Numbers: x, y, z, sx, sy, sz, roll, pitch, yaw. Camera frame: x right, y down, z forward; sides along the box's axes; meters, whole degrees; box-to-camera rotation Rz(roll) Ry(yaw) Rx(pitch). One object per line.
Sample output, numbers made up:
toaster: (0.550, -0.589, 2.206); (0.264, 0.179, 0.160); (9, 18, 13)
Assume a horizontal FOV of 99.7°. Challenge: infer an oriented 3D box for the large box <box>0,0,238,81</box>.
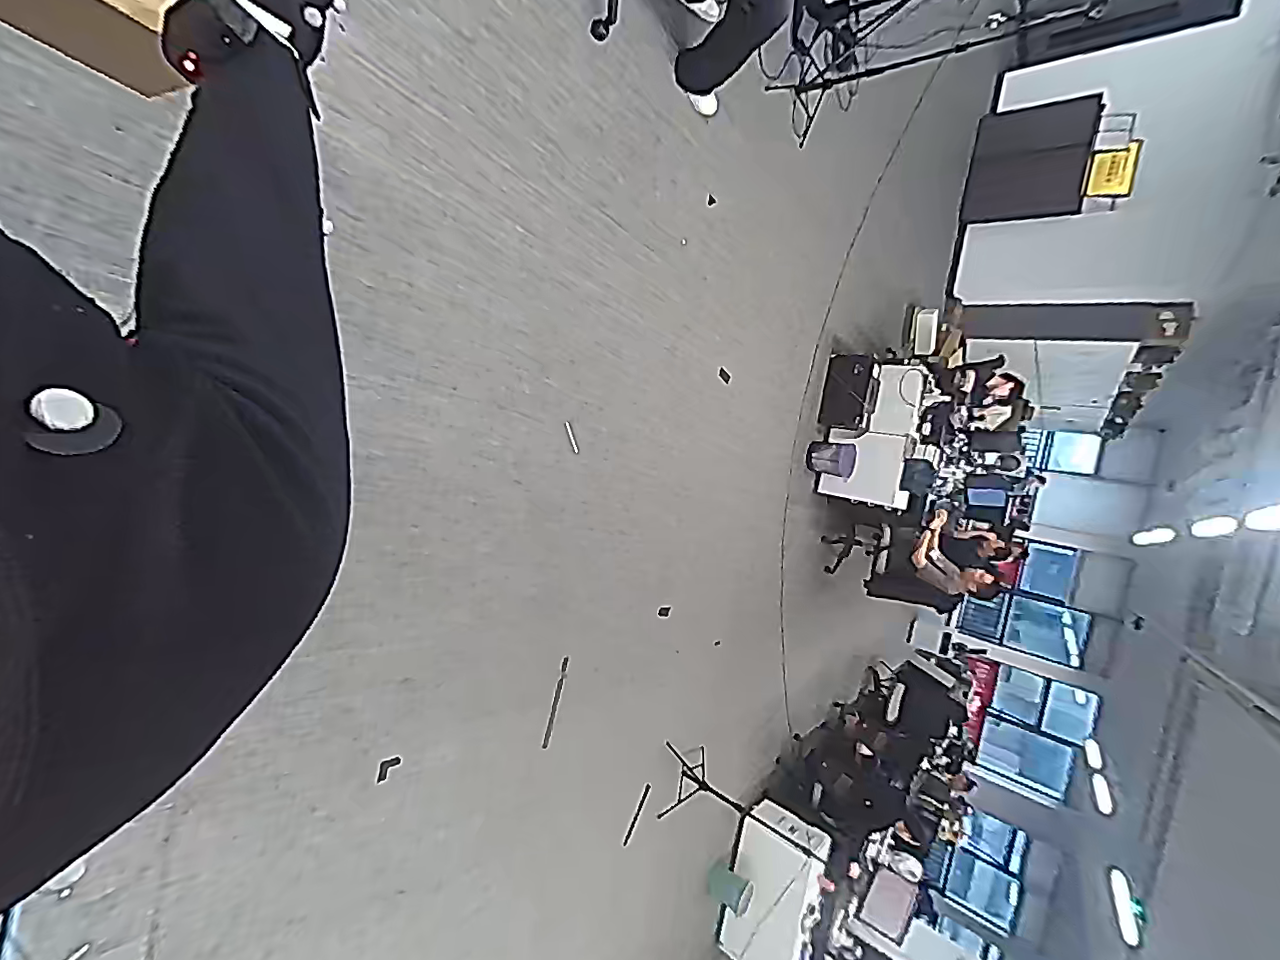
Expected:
large box: (-0.531, -0.563, 0.366); (0.408, 0.320, 0.320); (10, 102, -54)
